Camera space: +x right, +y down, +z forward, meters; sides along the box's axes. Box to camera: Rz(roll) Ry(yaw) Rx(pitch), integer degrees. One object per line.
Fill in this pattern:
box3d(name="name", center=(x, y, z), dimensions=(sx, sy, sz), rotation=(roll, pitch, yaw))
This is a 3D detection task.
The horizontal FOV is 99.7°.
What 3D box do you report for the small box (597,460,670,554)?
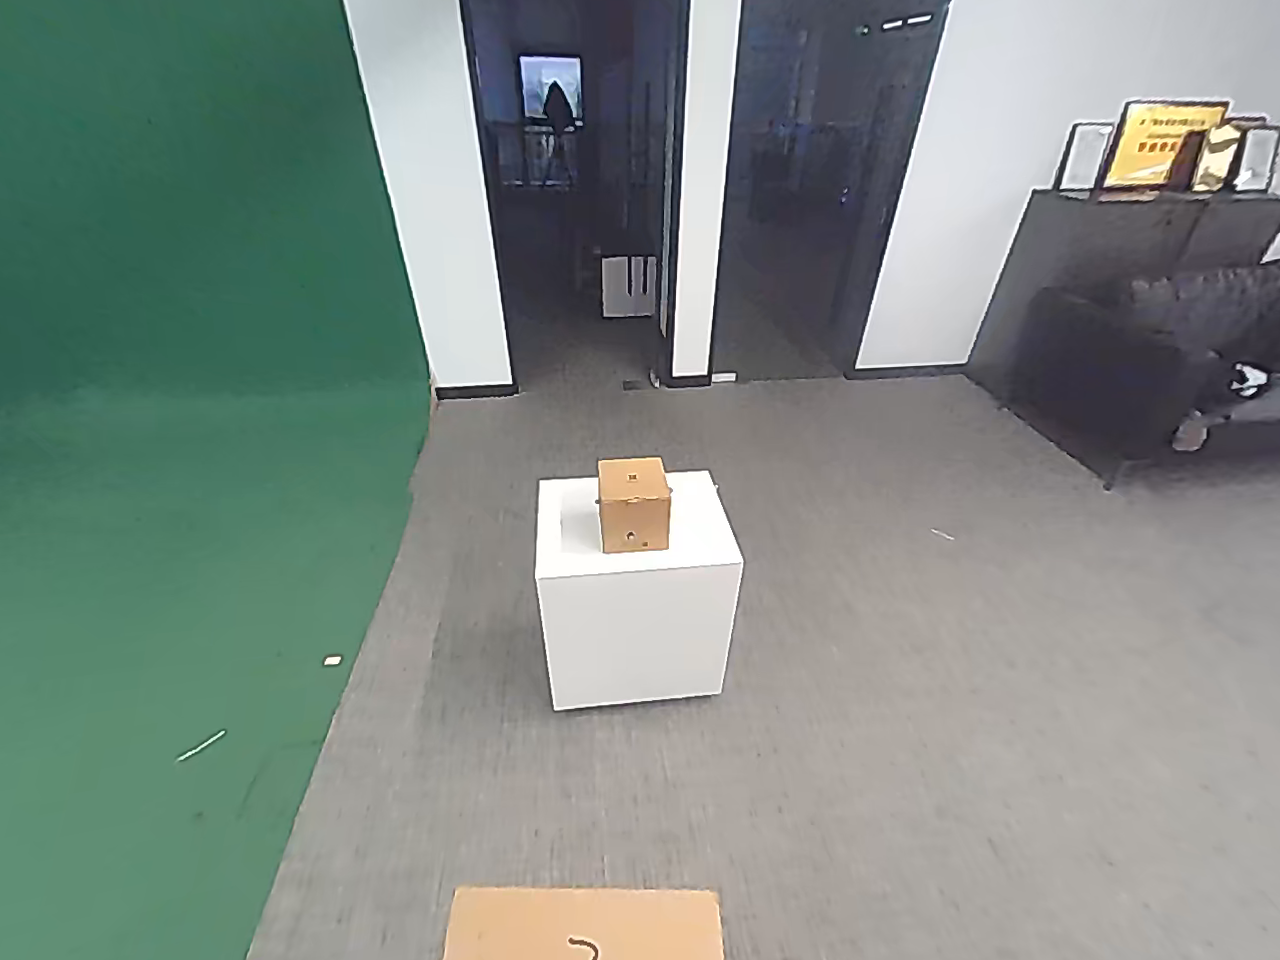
box3d(name="small box", center=(-0.022, 0.067, 1.361), dimensions=(0.168, 0.176, 0.179), rotation=(-3, 35, -6))
